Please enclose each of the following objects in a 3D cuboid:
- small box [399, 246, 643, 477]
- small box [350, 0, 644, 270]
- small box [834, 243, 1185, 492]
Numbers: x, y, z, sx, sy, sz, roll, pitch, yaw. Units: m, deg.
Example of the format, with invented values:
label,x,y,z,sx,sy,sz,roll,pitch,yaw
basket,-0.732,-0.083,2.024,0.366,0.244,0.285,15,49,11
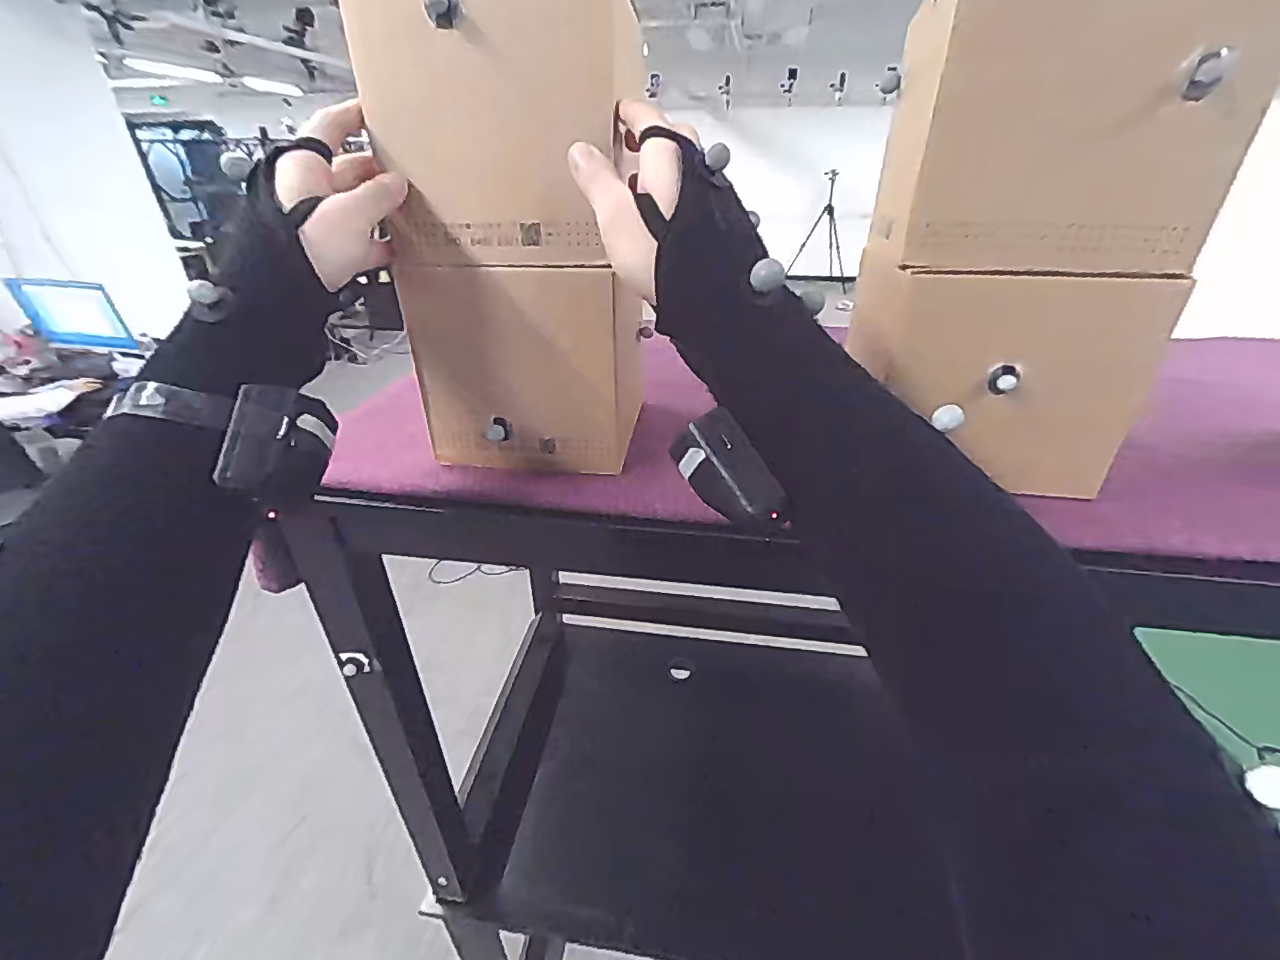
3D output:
label,x,y,z,sx,sy,sz,roll,pitch,yaw
small box,-0.089,-0.119,0.499,0.168,0.176,0.179,3,29,7
small box,-0.088,-0.263,0.421,0.168,0.176,0.179,2,29,6
small box,0.278,-0.101,0.462,0.179,0.176,0.168,3,29,10
